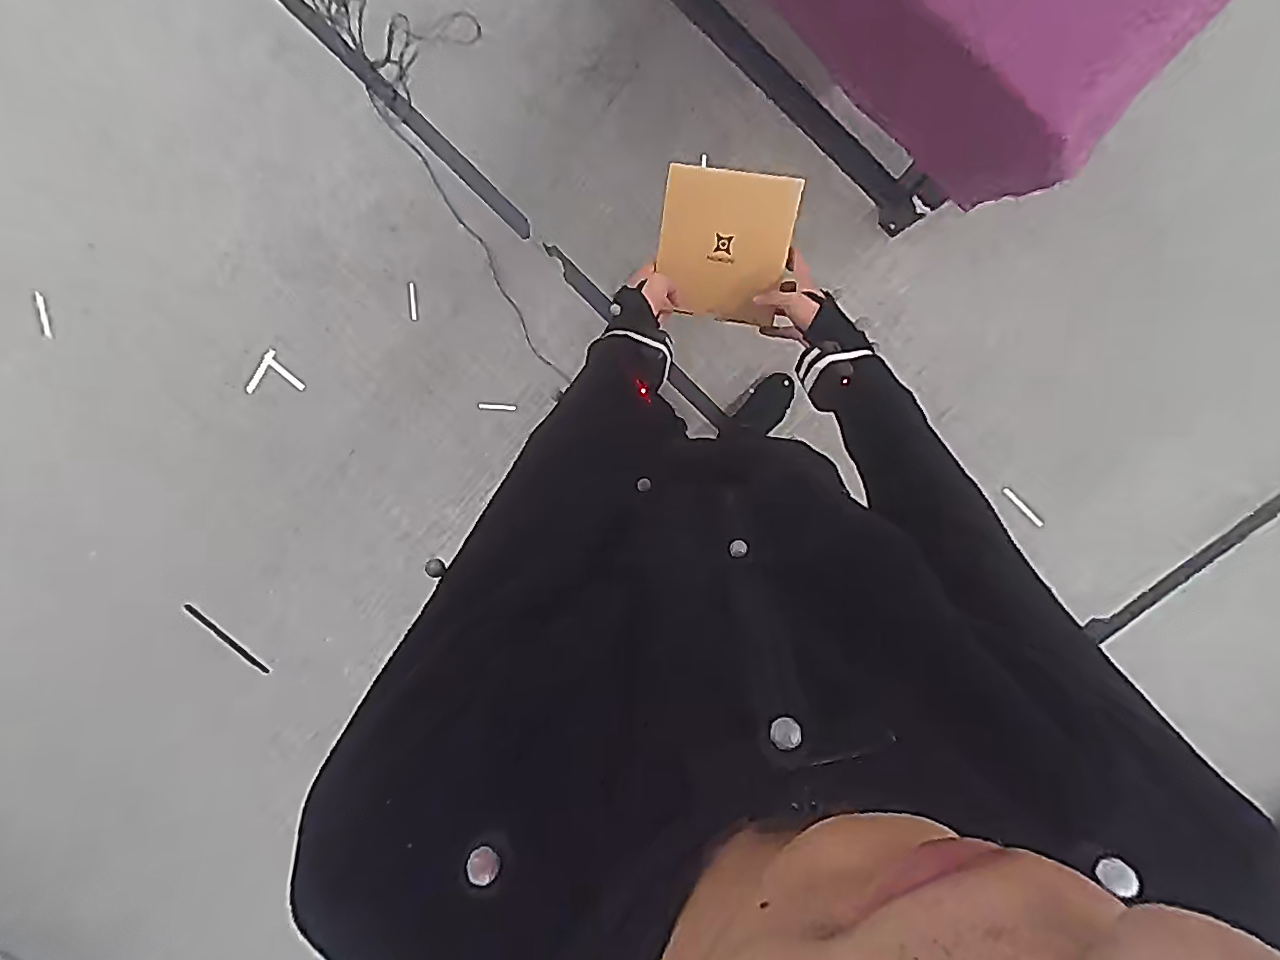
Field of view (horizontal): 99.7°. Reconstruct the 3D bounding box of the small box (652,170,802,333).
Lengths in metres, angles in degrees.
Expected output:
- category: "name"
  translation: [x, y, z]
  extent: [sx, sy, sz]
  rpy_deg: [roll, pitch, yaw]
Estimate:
- category: "small box"
  translation: [0.120, -0.319, 0.764]
  extent: [0.168, 0.176, 0.179]
  rpy_deg: [11, 115, 8]
